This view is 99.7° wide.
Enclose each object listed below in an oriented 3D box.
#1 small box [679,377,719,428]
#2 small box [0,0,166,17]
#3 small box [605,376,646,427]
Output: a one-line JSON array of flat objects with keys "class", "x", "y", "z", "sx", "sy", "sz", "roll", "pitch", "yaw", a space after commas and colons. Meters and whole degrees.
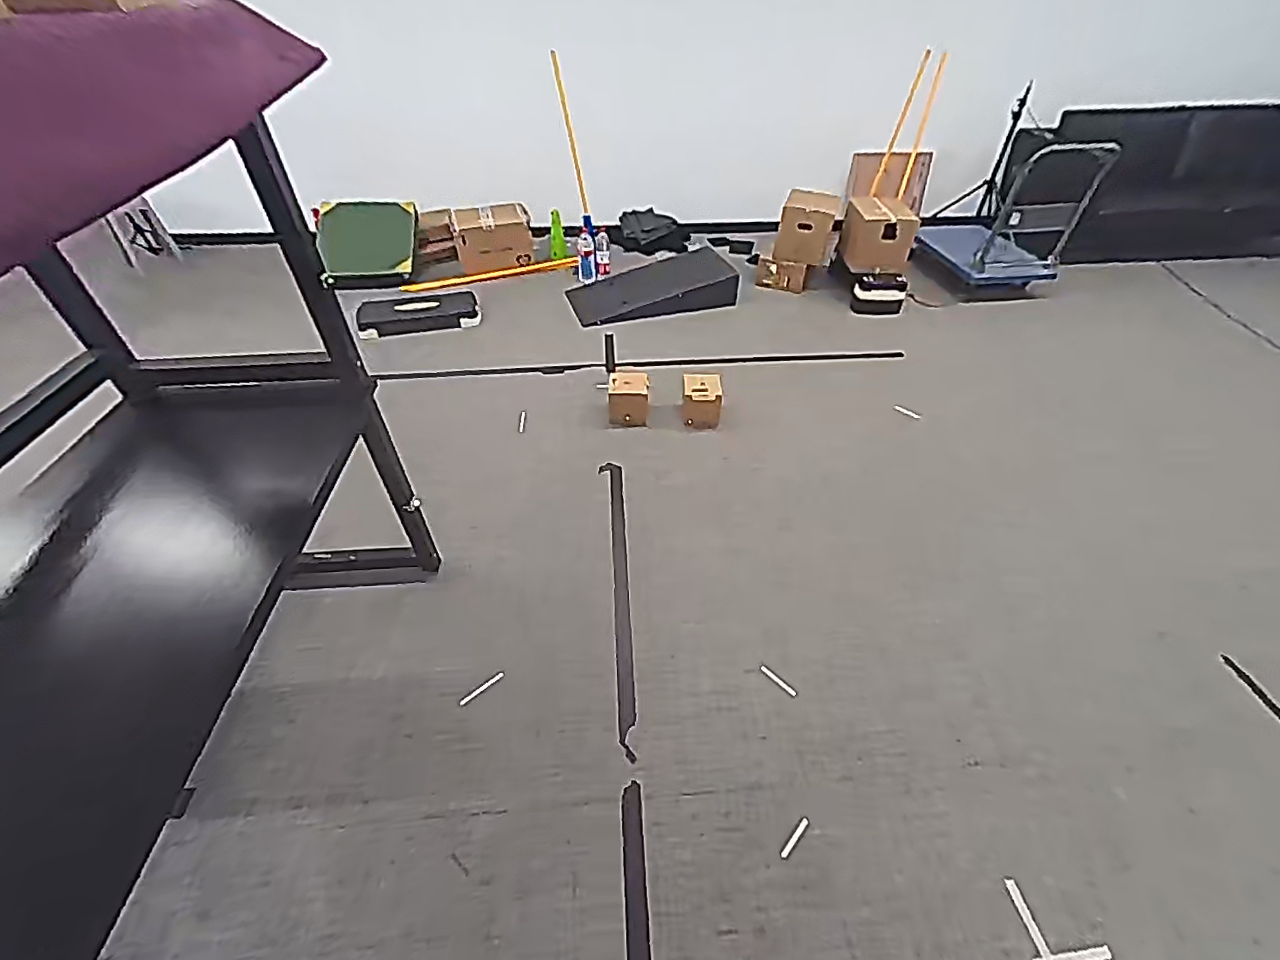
[{"class": "small box", "x": 0.266, "y": -0.352, "z": 2.472, "sx": 0.168, "sy": 0.176, "sz": 0.179, "roll": 2, "pitch": 42, "yaw": 0}, {"class": "small box", "x": -0.790, "y": -0.718, "z": 0.703, "sx": 0.179, "sy": 0.176, "sz": 0.168, "roll": -7, "pitch": 44, "yaw": -7}, {"class": "small box", "x": -0.066, "y": -0.358, "z": 2.470, "sx": 0.179, "sy": 0.176, "sz": 0.168, "roll": 2, "pitch": 43, "yaw": -1}]
